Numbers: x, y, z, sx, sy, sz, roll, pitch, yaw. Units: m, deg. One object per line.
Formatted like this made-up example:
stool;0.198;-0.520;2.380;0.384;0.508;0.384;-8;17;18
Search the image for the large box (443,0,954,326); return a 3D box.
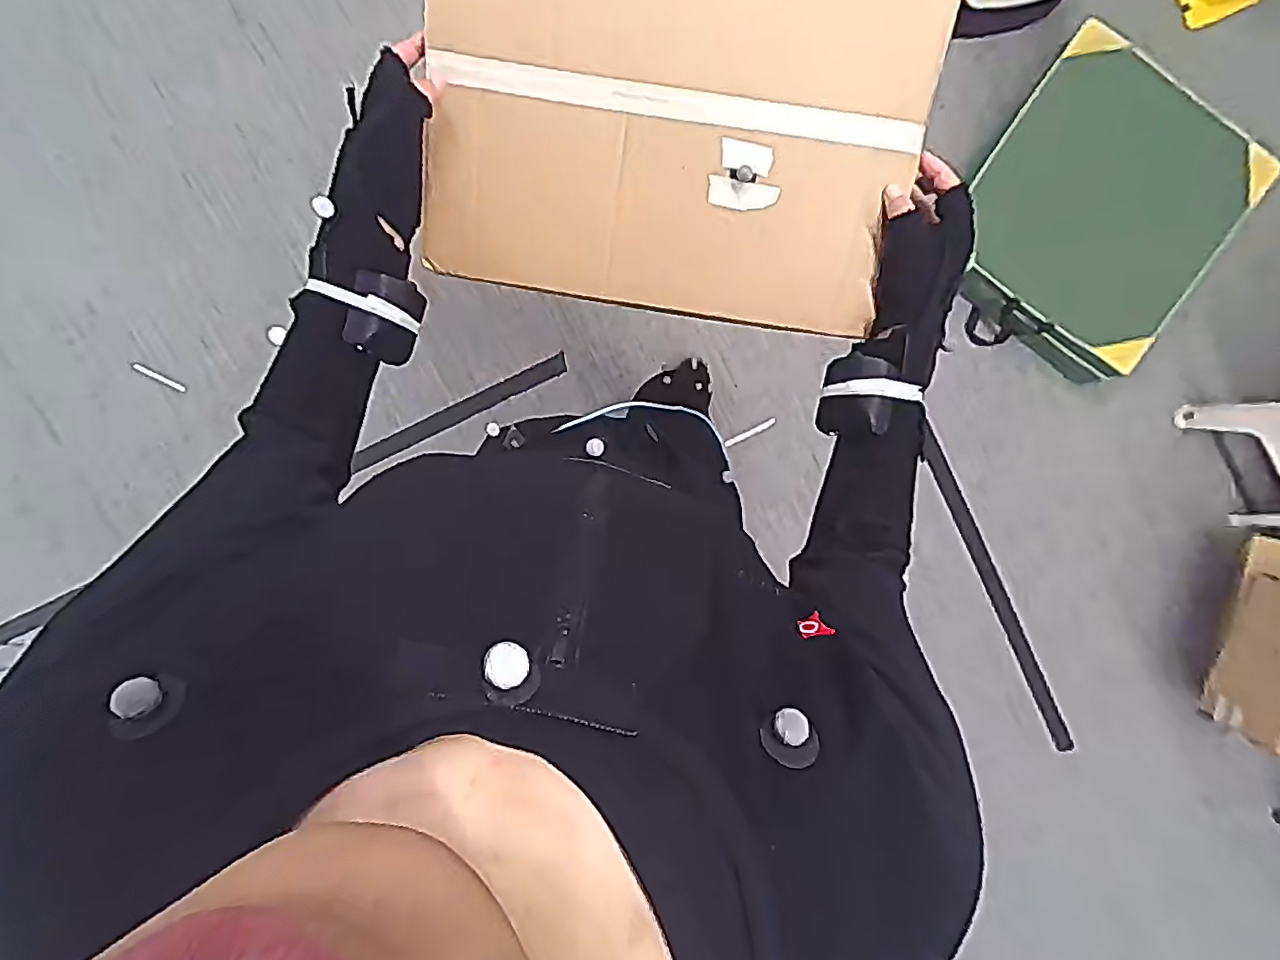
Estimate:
large box;0.040;-0.356;0.592;0.408;0.320;0.320;9;108;-1
